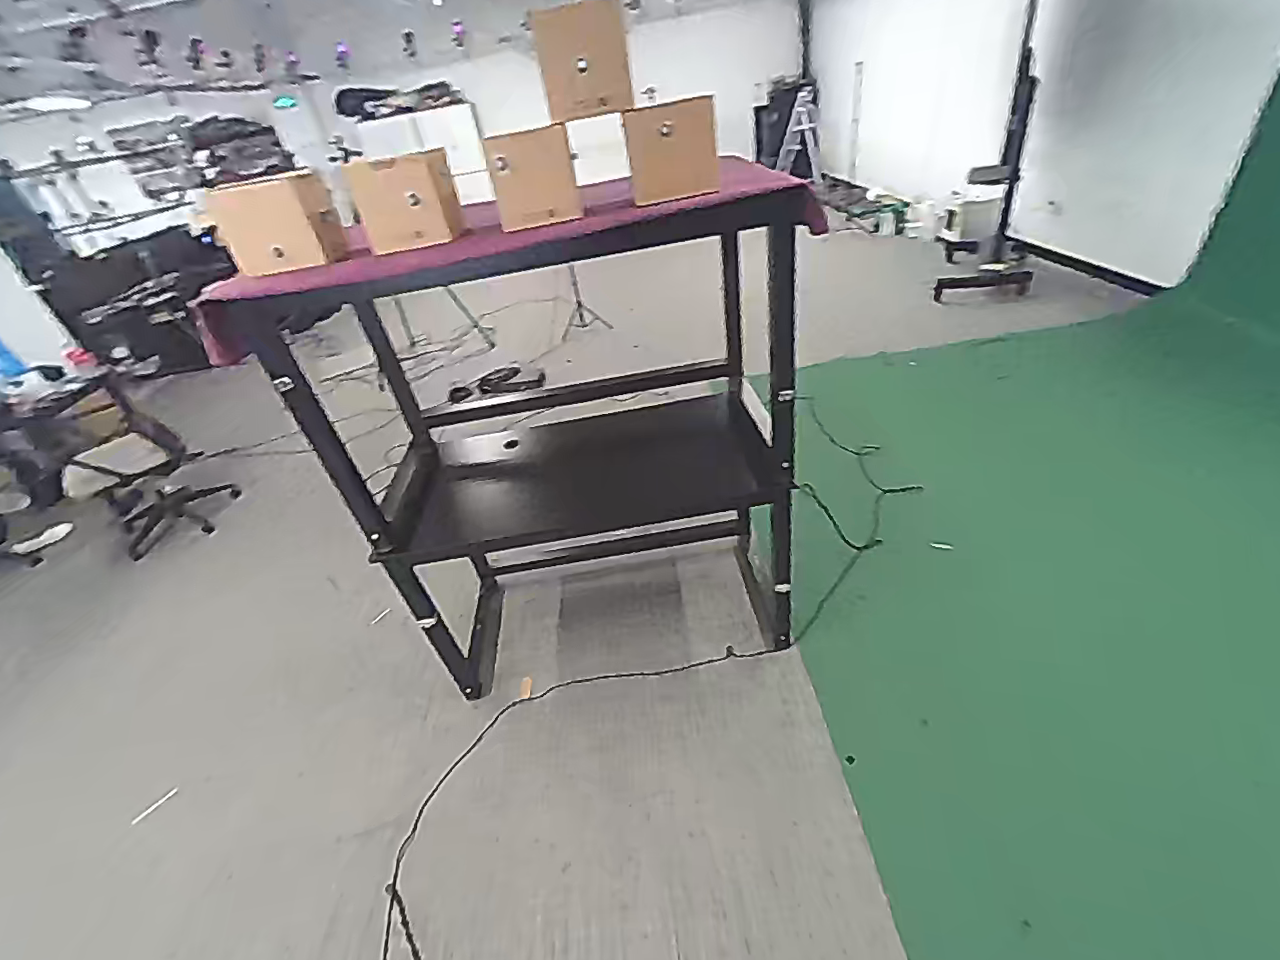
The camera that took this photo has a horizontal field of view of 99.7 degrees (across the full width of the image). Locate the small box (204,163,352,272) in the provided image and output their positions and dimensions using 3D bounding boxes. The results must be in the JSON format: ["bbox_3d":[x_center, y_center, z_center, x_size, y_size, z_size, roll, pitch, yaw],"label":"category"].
[{"bbox_3d":[-0.747,-0.556,1.143,0.179,0.176,0.168,-10,35,-1],"label":"small box"}]

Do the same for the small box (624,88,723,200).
[{"bbox_3d":[0.068,-0.694,1.125,0.179,0.176,0.168,-9,35,2],"label":"small box"}]

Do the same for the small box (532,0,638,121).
[{"bbox_3d":[-0.101,-0.805,1.039,0.168,0.176,0.179,-10,34,0],"label":"small box"}]

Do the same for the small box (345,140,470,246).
[{"bbox_3d":[-0.477,-0.602,1.140,0.168,0.176,0.179,-8,34,3],"label":"small box"}]
